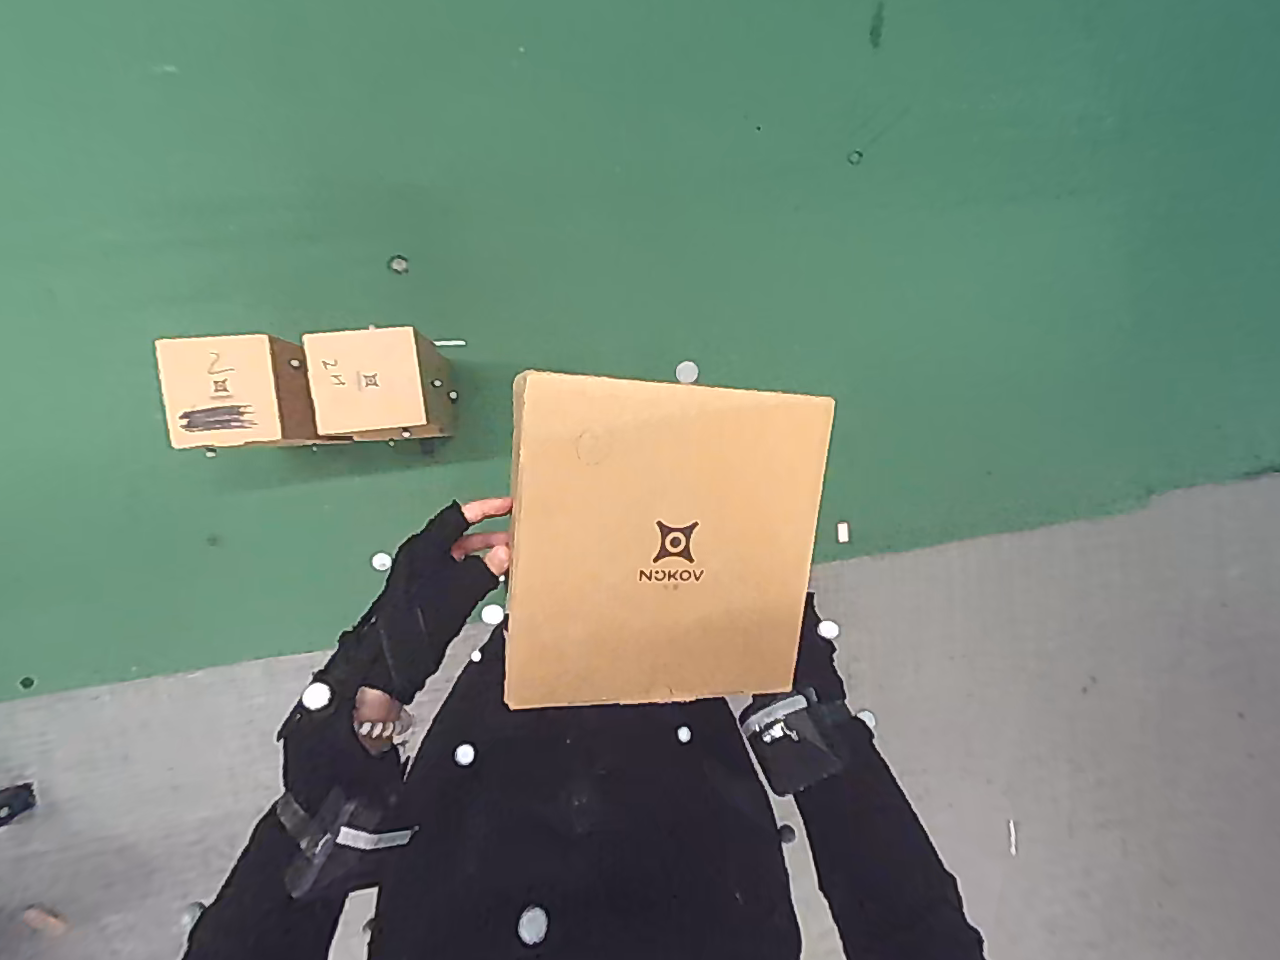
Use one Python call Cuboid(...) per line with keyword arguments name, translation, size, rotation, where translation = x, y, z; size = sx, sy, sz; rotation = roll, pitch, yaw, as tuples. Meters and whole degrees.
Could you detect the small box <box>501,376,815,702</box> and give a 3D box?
Cuboid(name="small box", translation=(-0.007, 0.023, 0.373), size=(0.168, 0.176, 0.179), rotation=(2, 101, -15))
